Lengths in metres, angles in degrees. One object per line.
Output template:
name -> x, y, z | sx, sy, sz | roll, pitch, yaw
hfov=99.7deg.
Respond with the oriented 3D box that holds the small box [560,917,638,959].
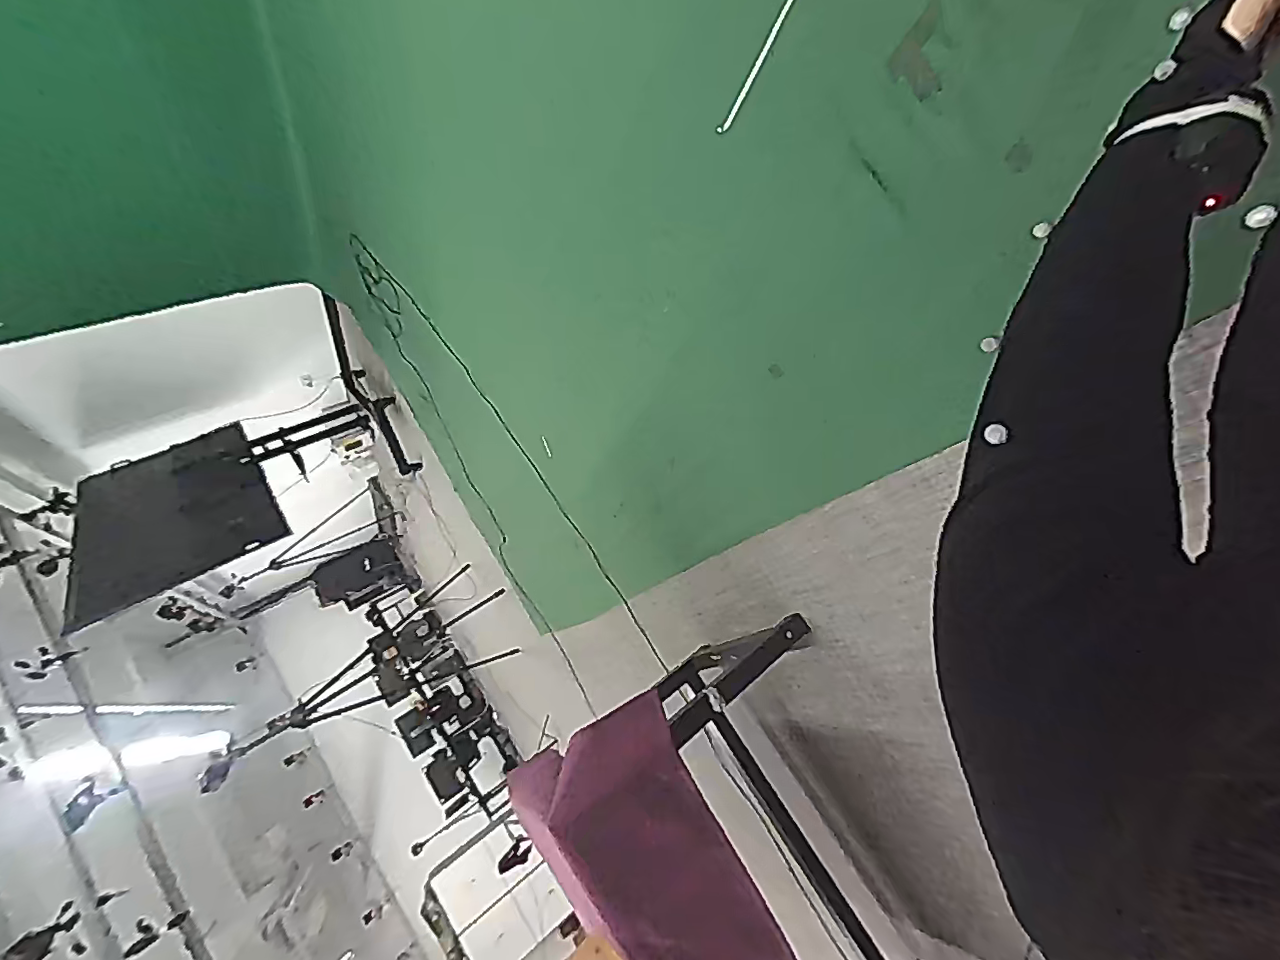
small box -> -0.060, 0.979, 0.998 | 0.179, 0.176, 0.168 | 59, 152, 4
